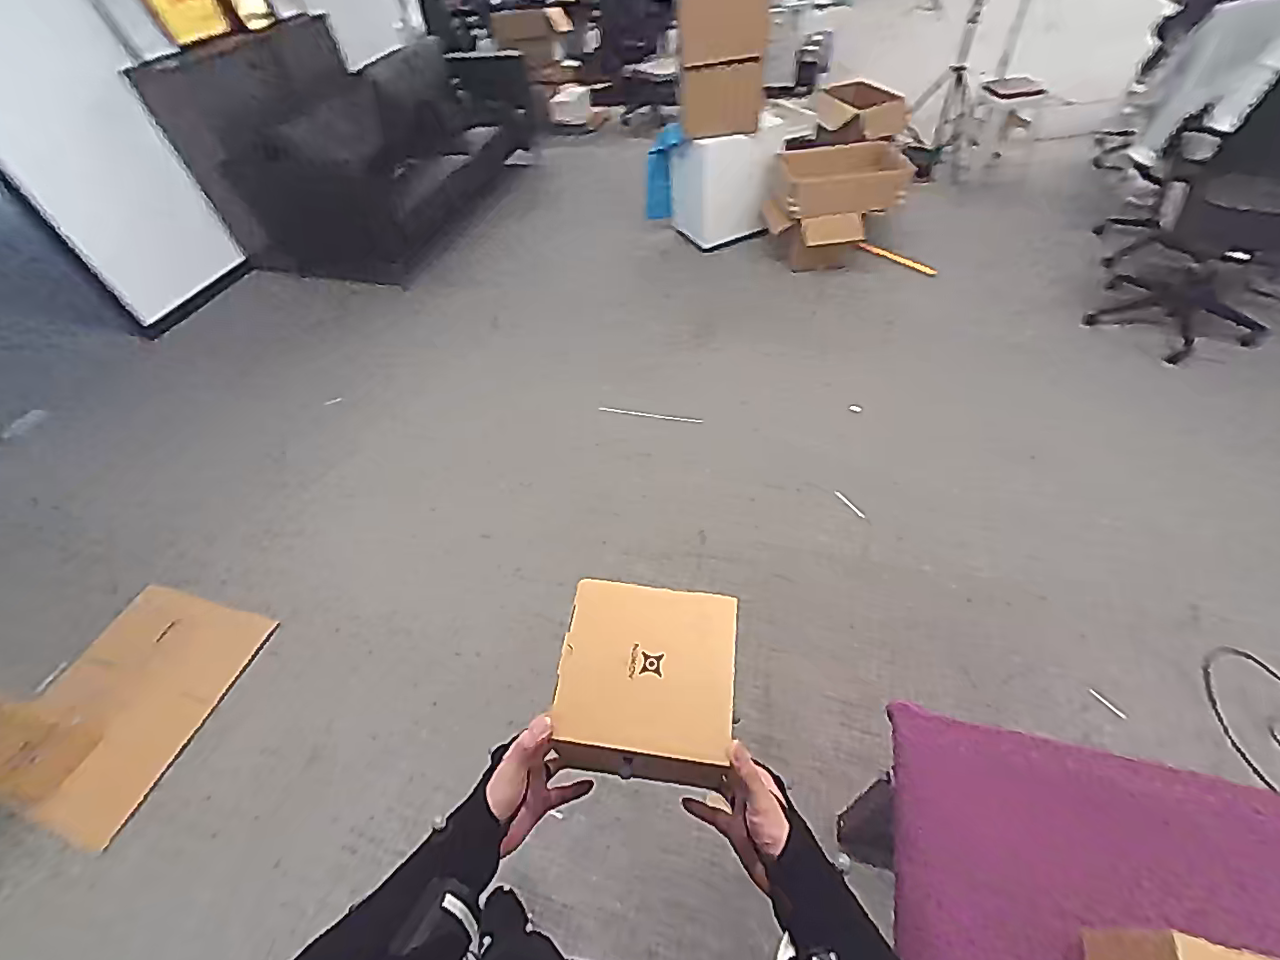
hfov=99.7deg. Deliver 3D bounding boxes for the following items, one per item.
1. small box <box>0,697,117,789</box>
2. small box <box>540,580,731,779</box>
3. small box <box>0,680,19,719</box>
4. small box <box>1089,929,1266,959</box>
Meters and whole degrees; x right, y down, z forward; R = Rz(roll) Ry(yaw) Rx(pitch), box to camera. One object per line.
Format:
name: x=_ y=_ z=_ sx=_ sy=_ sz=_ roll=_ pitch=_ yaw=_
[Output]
small box: x=-1.715 y=0.774 z=1.581 sx=0.168 sy=0.176 sz=0.179 roll=14 pitch=52 yaw=18
small box: x=0.005 y=0.230 z=0.611 sx=0.179 sy=0.176 sz=0.168 roll=4 pitch=55 yaw=7
small box: x=-1.730 y=0.563 z=1.331 sx=0.168 sy=0.176 sz=0.179 roll=16 pitch=53 yaw=19
small box: x=0.577 y=0.567 z=0.516 sx=0.168 sy=0.176 sz=0.179 roll=10 pitch=52 yaw=15
